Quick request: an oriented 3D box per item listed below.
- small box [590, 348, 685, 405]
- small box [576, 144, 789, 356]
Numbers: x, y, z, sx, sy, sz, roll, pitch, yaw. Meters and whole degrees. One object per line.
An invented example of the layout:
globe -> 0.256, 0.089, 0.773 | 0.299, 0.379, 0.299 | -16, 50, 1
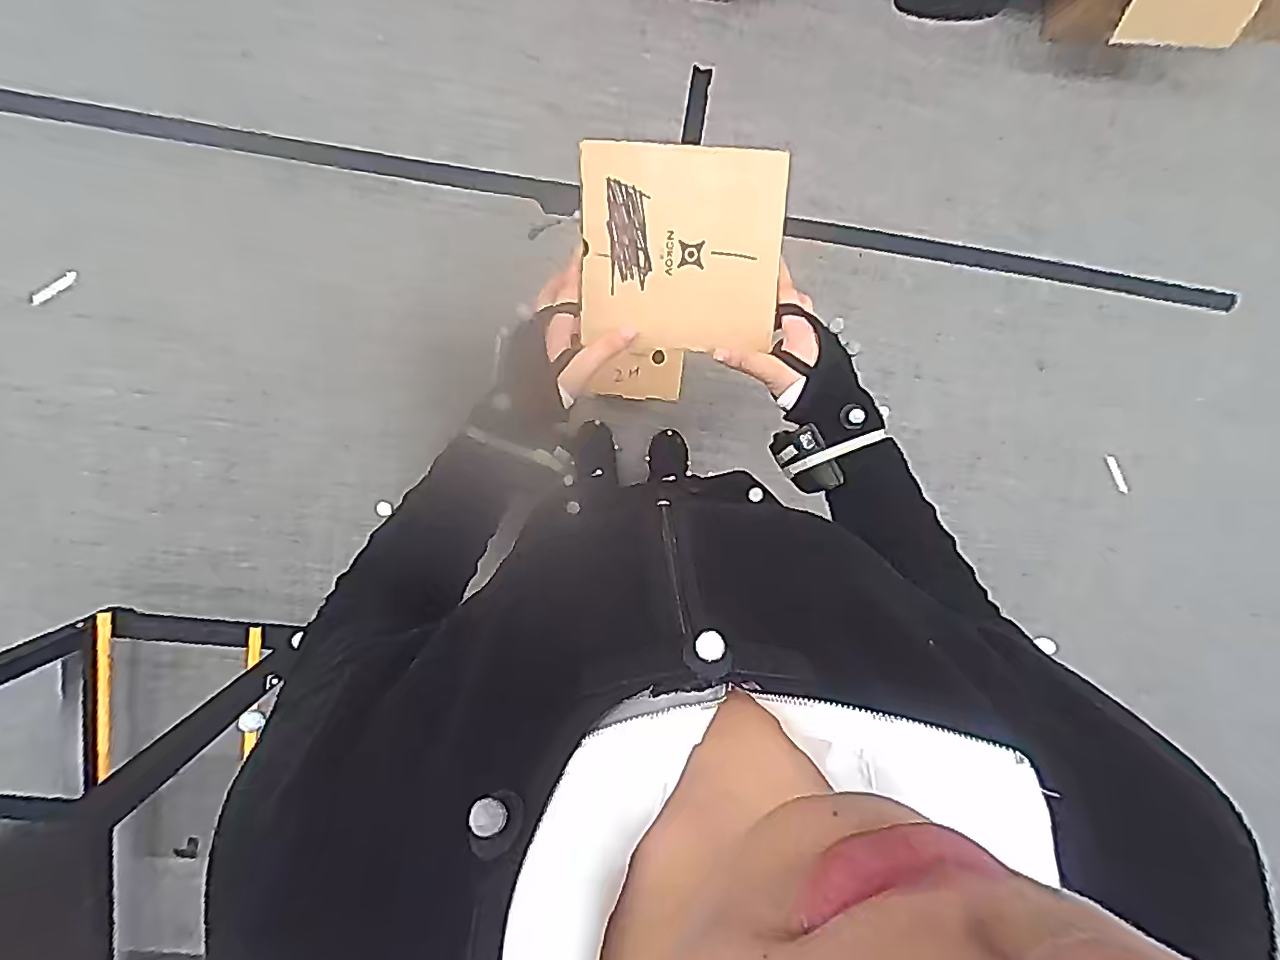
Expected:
small box -> -0.005, -0.241, 1.046 | 0.168, 0.176, 0.179 | 6, 98, -3
small box -> 0.031, -0.211, 0.538 | 0.179, 0.176, 0.168 | 1, 105, -3
